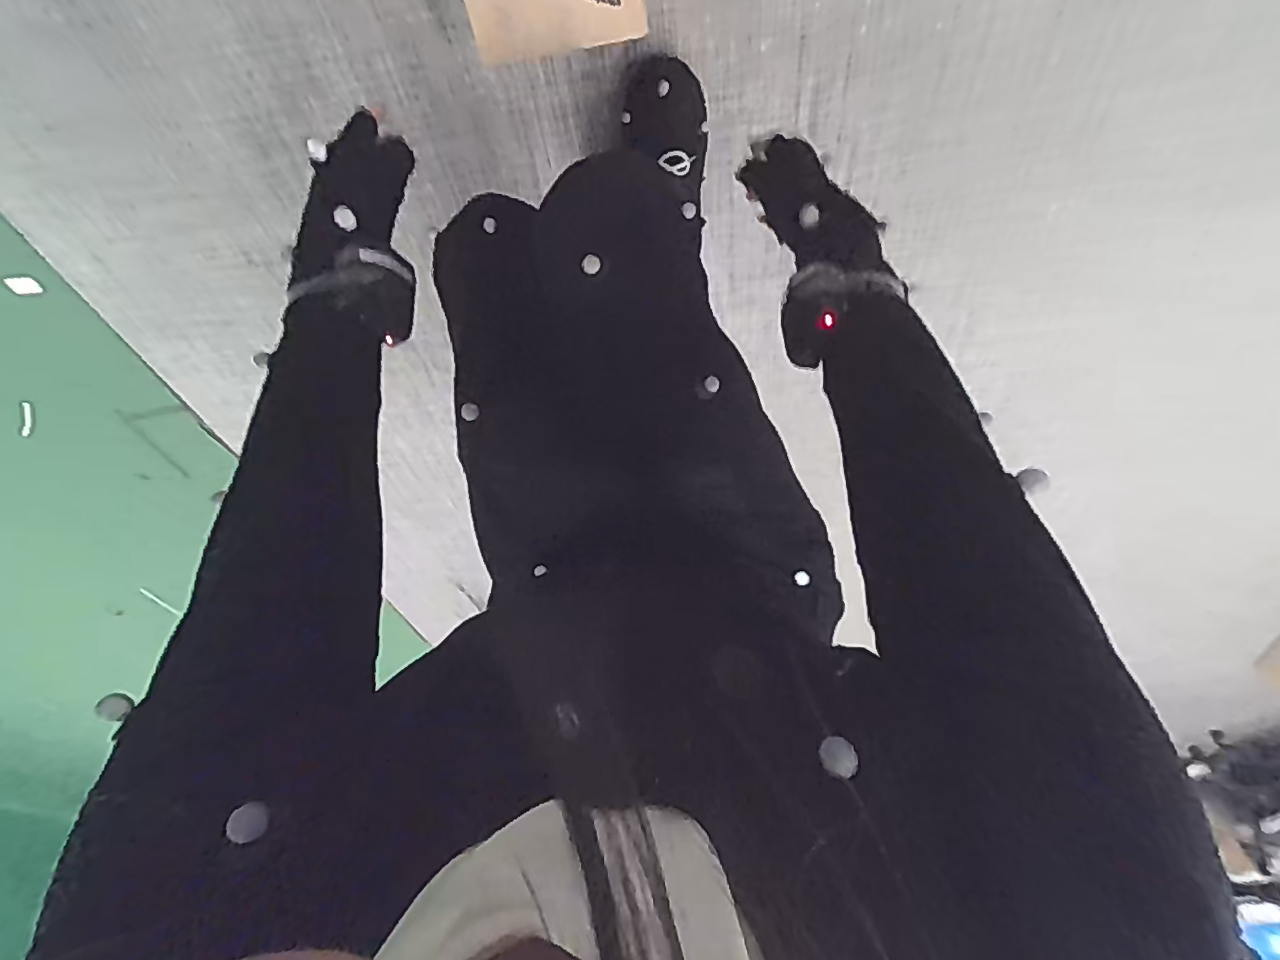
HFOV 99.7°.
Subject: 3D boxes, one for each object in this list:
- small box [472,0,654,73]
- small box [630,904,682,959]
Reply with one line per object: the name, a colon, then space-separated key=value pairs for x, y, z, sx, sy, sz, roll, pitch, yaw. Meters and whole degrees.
small box: x=-0.085 y=-0.555 z=0.559 sx=0.179 sy=0.176 sz=0.168 roll=-6 pitch=138 yaw=7
small box: x=0.060 y=1.740 z=2.069 sx=0.179 sy=0.176 sz=0.168 roll=-9 pitch=140 yaw=6
